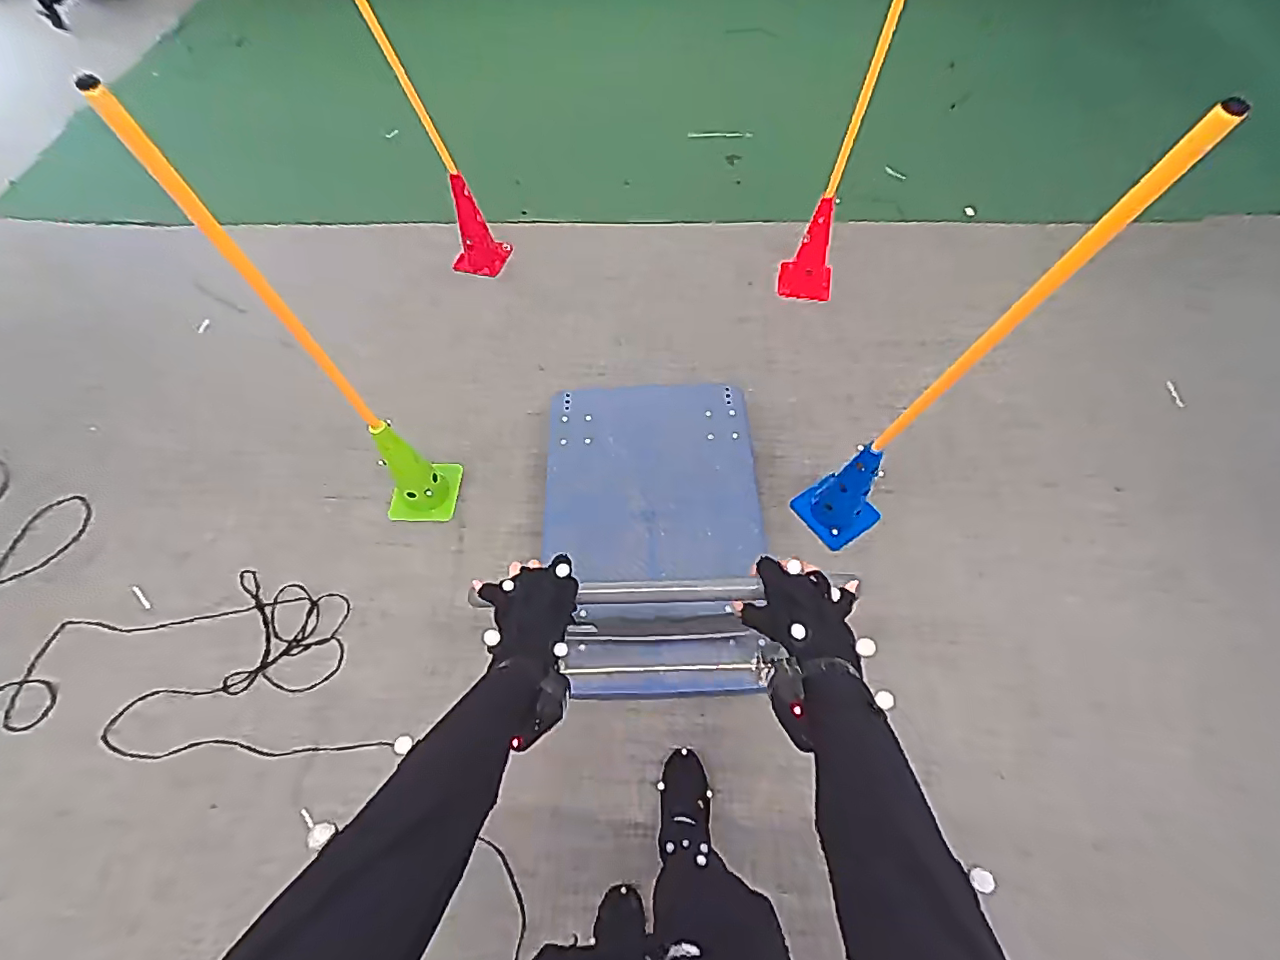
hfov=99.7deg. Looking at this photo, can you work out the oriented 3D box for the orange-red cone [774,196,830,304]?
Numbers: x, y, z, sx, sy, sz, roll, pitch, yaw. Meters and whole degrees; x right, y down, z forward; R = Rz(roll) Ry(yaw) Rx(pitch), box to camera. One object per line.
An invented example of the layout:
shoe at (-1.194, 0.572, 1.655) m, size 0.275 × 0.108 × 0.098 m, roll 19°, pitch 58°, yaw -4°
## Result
orange-red cone at (0.620, -0.842, 1.940) m, size 0.198 × 0.360 × 0.199 m, roll 11°, pitch 62°, yaw 9°
